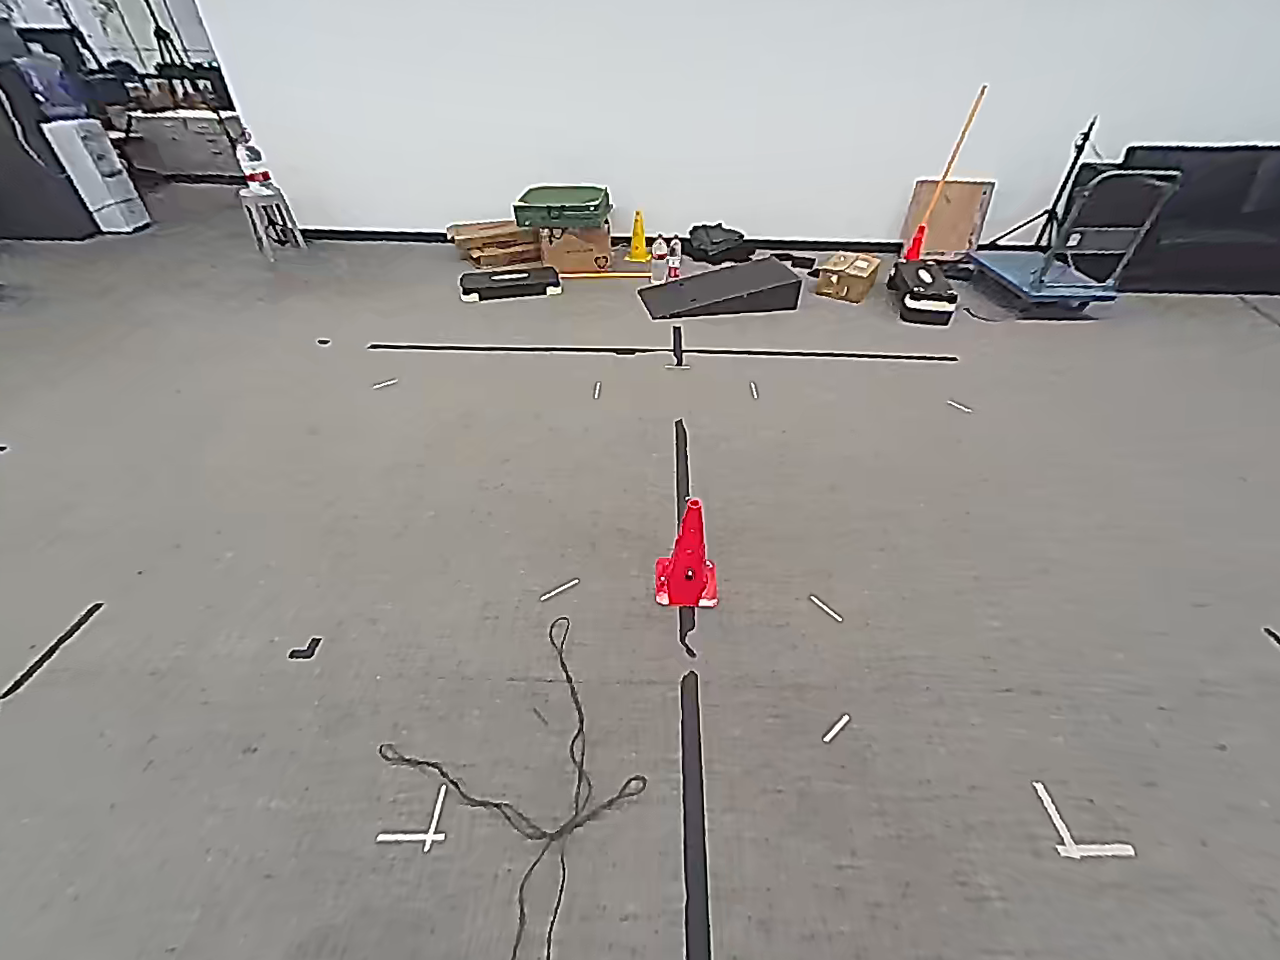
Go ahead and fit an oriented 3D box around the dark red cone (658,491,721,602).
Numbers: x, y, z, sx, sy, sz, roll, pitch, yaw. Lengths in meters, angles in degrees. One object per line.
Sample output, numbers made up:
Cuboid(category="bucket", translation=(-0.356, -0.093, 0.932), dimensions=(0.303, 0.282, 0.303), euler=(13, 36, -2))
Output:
Cuboid(category="dark red cone", translation=(0.160, 0.190, 1.671), dimensions=(0.201, 0.394, 0.202), euler=(1, 40, 1))
